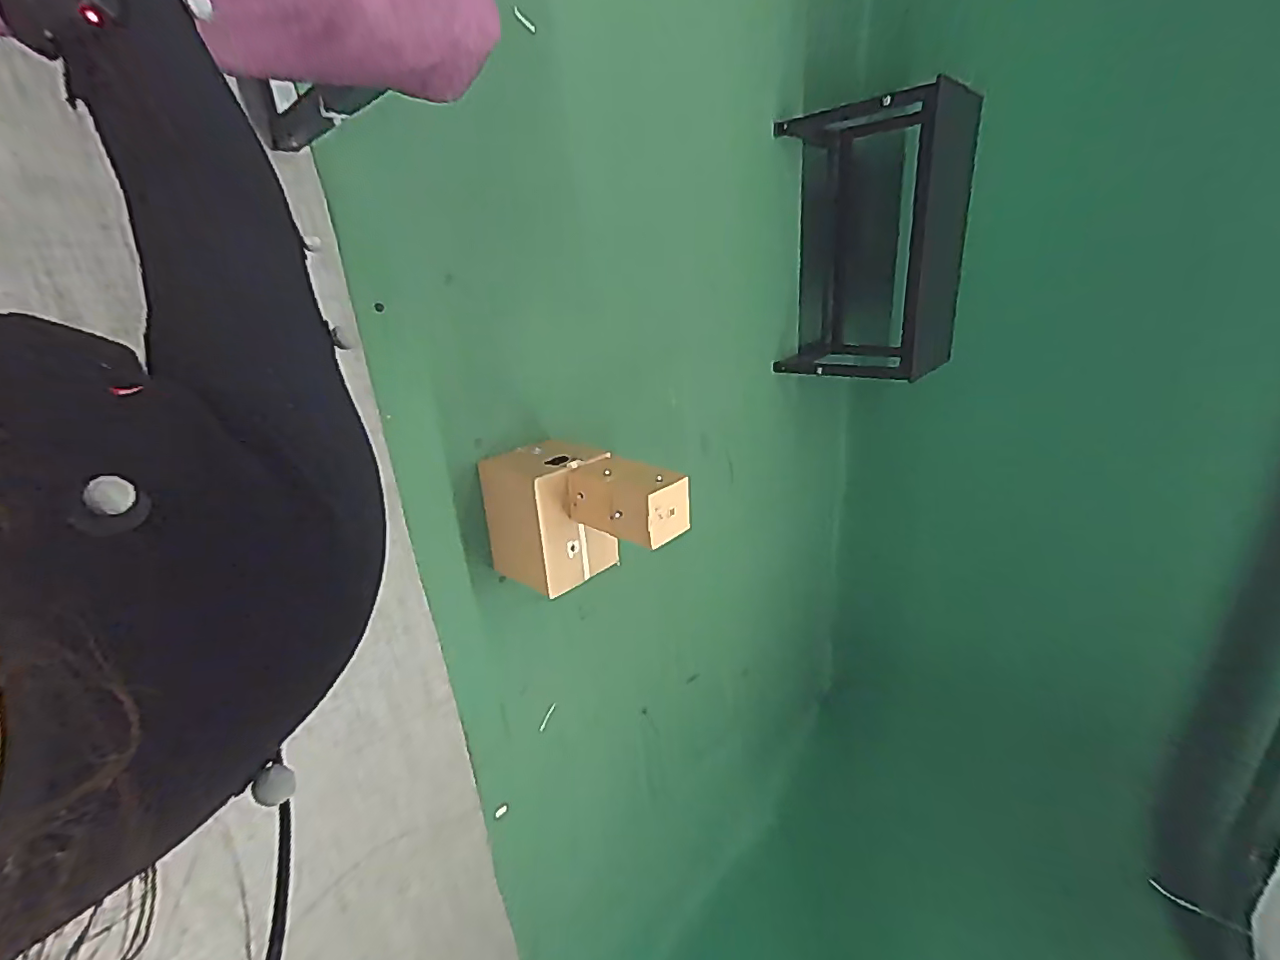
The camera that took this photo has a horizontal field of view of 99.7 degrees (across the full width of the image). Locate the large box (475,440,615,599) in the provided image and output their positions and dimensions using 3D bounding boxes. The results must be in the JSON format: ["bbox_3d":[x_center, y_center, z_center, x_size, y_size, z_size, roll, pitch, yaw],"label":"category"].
[{"bbox_3d":[-0.310,0.113,1.803,0.320,0.320,0.408,-23,118,-43],"label":"large box"}]

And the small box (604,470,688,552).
[{"bbox_3d":[0.018,0.079,1.538,0.179,0.176,0.168,-24,118,-43],"label":"small box"}]

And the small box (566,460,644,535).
[{"bbox_3d":[-0.103,0.045,1.645,0.179,0.176,0.168,-23,118,-43],"label":"small box"}]
